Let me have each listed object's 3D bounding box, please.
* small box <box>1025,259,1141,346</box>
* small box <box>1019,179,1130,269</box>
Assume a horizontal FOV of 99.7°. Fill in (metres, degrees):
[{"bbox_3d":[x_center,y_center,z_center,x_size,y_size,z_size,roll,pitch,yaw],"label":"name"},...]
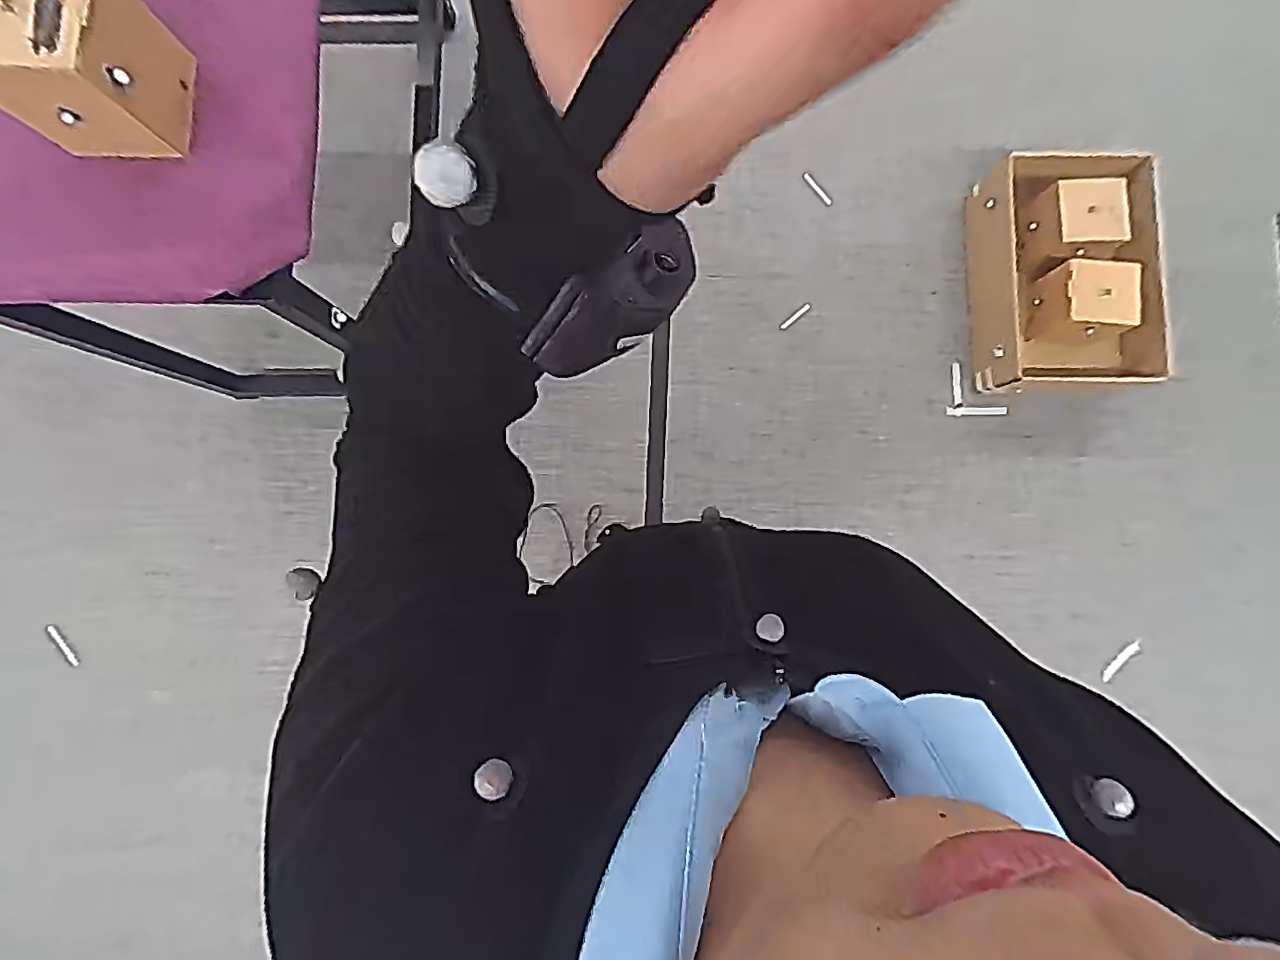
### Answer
[{"bbox_3d":[1.180,-0.468,1.447,0.179,0.176,0.168,6,85,1],"label":"small box"},{"bbox_3d":[1.162,-0.684,1.462,0.179,0.176,0.168,-1,87,0],"label":"small box"}]
